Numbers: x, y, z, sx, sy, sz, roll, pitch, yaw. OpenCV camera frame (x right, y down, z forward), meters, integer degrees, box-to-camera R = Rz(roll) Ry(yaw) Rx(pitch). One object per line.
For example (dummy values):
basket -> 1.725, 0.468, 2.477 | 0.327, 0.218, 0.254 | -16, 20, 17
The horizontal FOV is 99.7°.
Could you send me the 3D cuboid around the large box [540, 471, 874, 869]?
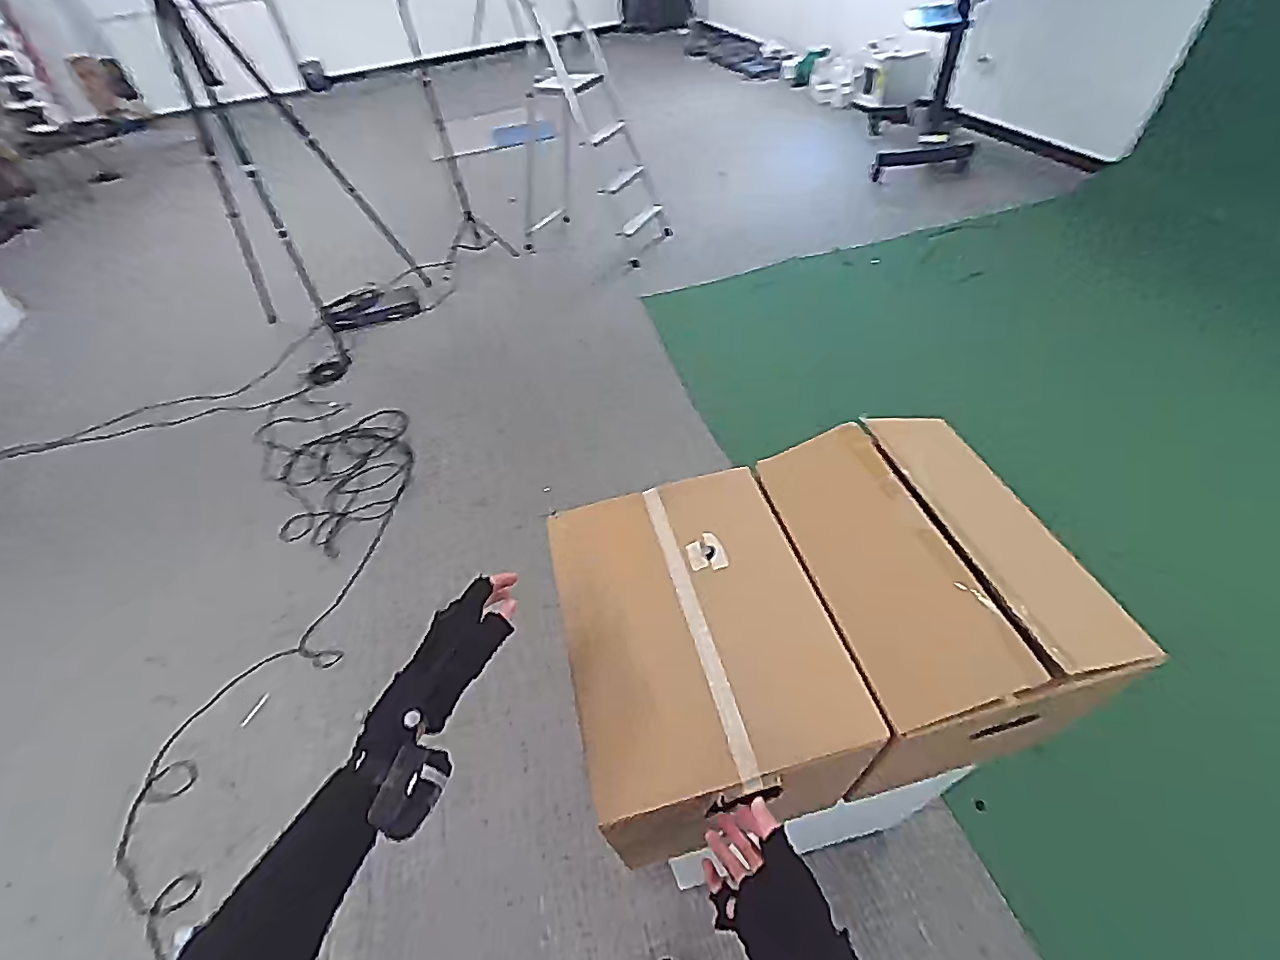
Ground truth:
large box -> 0.065, 0.261, 0.781 | 0.320, 0.320, 0.408 | -14, 47, -6
